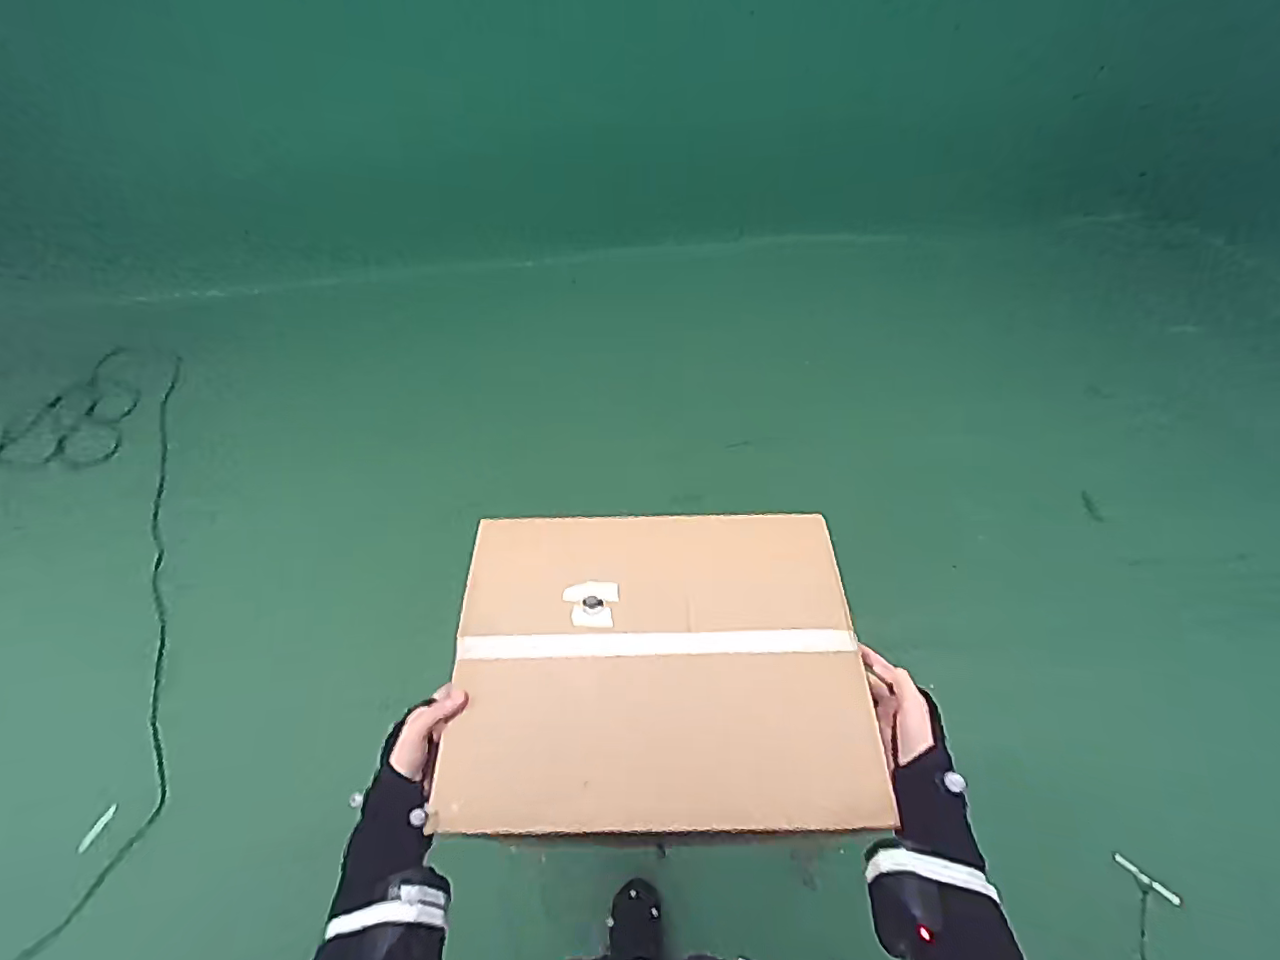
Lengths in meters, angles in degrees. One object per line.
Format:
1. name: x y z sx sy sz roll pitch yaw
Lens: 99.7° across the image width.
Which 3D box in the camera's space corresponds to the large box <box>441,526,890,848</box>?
1. large box: 0.027 0.271 0.679 0.408 0.320 0.320 -1 52 2
